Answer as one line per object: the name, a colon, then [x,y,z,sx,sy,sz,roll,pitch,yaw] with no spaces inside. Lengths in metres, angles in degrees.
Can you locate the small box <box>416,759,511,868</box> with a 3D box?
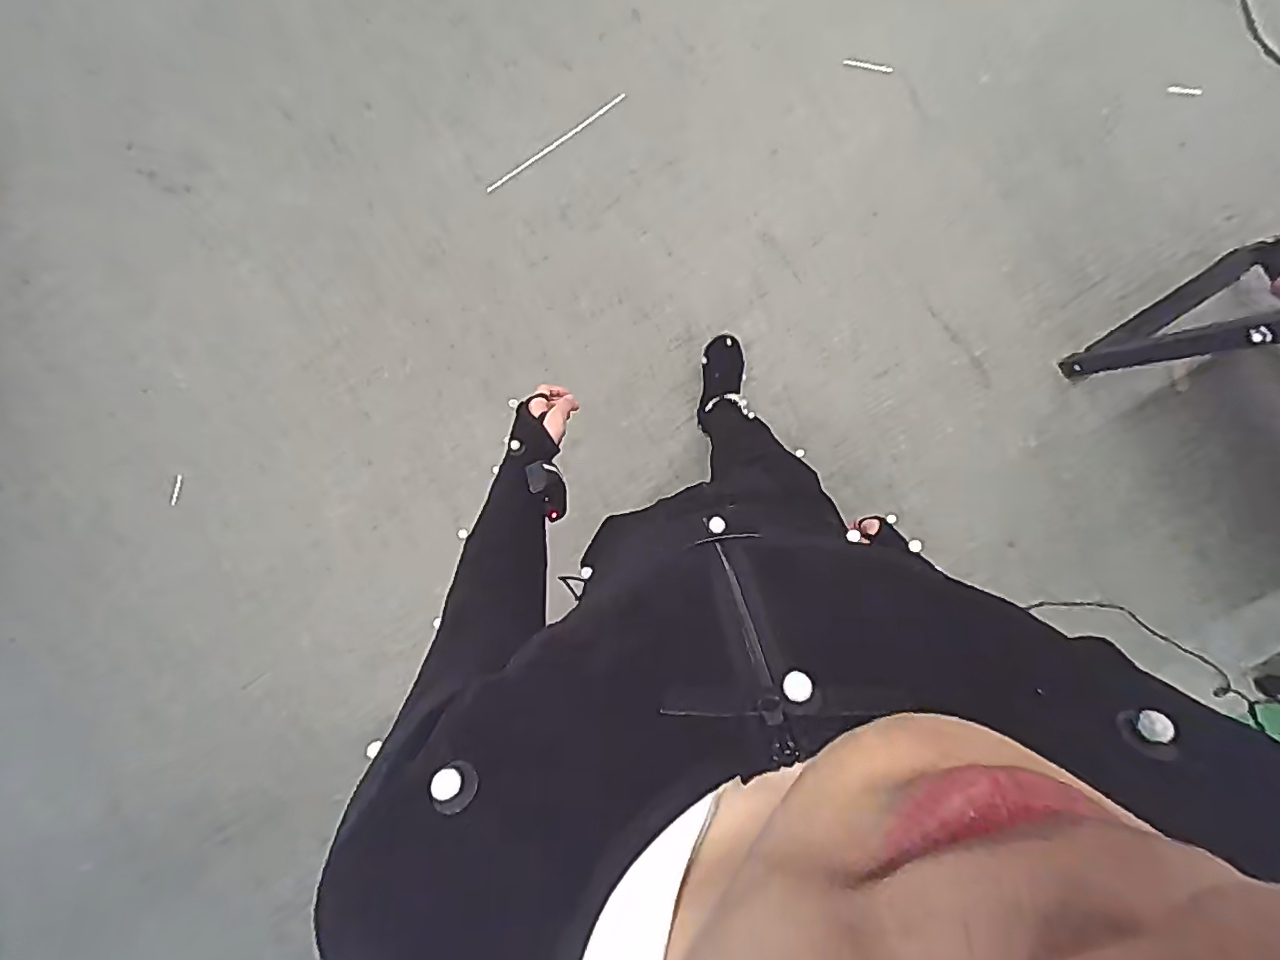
small box: [-0.501,0.955,1.563,0.179,0.176,0.168,-33,92,2]
